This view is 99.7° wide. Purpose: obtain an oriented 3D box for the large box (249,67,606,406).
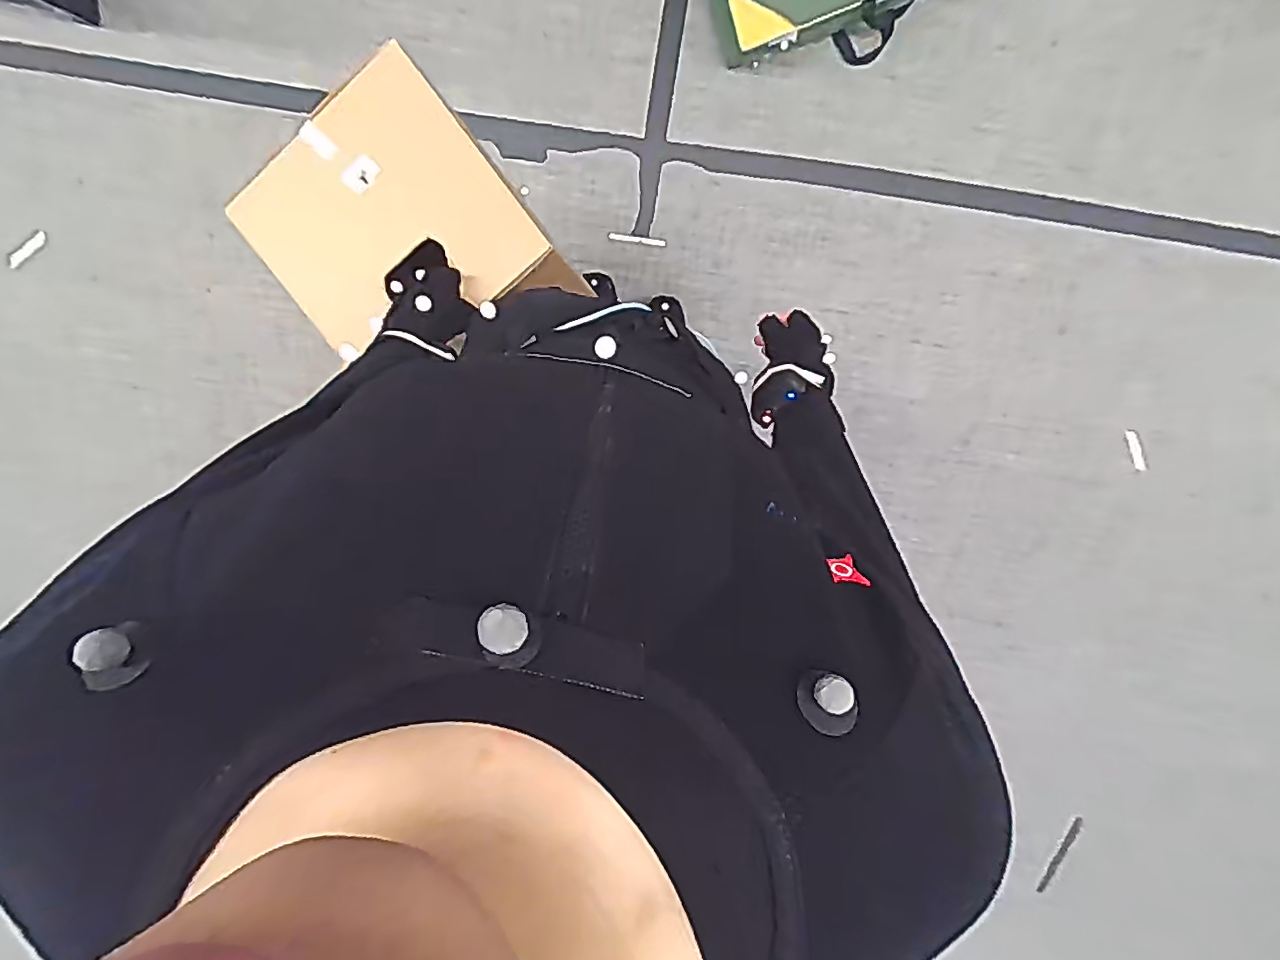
[{"bbox_3d":[-0.296,-0.341,0.887,0.320,0.408,0.320,-35,95,9],"label":"large box"}]
